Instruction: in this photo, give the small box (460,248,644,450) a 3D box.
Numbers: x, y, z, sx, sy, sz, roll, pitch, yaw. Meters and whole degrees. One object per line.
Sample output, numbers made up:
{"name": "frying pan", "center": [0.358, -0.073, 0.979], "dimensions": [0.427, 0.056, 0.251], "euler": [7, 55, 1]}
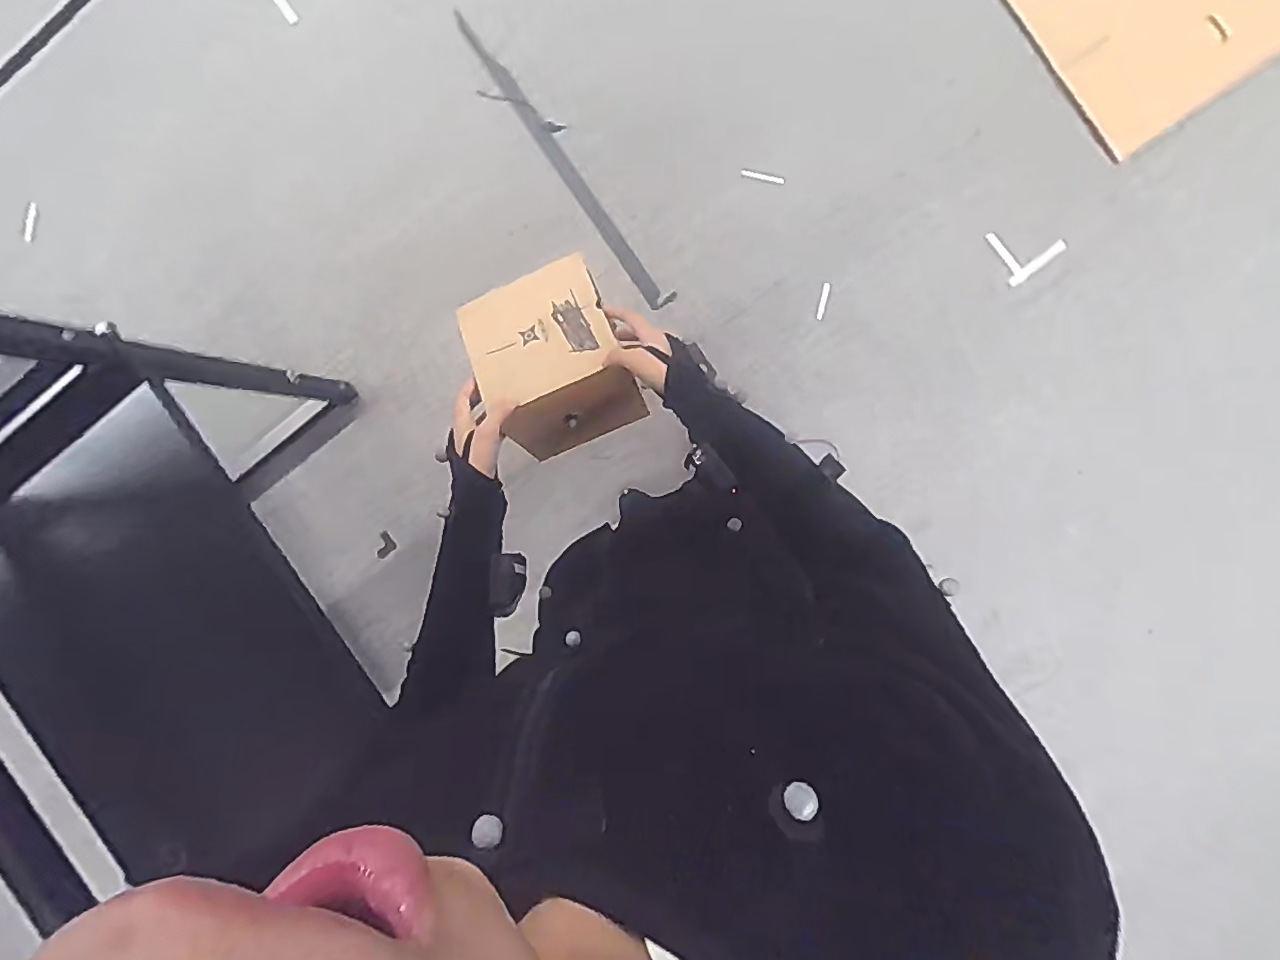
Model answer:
{"name": "small box", "center": [-0.103, -0.160, 0.716], "dimensions": [0.179, 0.176, 0.168], "euler": [-22, 72, 5]}
